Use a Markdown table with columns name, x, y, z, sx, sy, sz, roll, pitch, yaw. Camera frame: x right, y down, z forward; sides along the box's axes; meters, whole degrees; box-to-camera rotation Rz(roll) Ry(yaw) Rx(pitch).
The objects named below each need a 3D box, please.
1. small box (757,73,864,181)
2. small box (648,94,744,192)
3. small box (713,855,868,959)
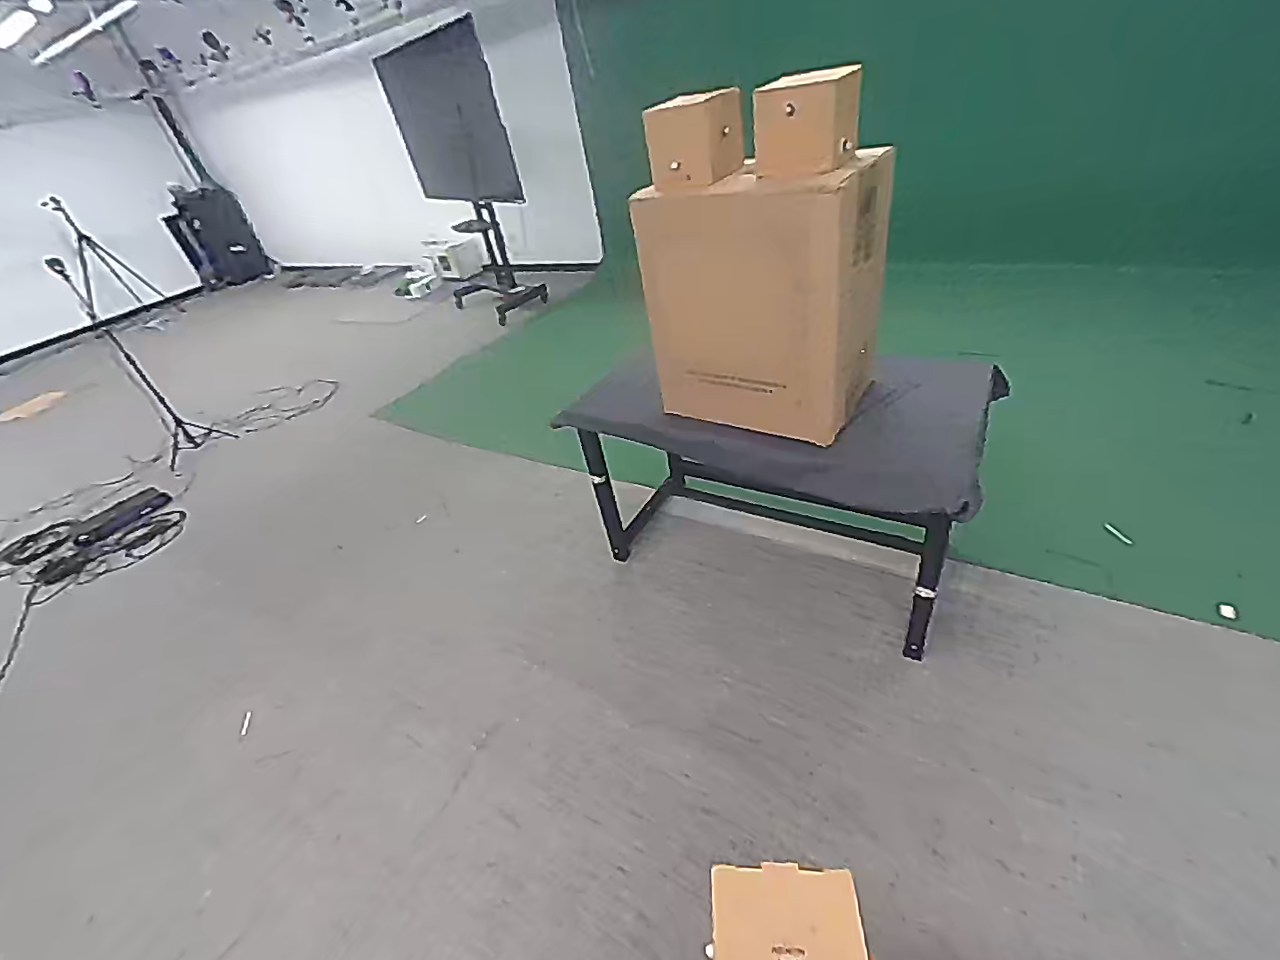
| name | x | y | z | sx | sy | sz | roll | pitch | yaw |
| --- | --- | --- | --- | --- | --- | --- | --- | --- | --- |
| small box | 0.373 | -0.773 | 1.194 | 0.179 | 0.176 | 0.168 | 18 | 48 | 31 |
| small box | 0.145 | -0.819 | 1.321 | 0.168 | 0.176 | 0.179 | 16 | 47 | 34 |
| small box | 0.173 | 0.572 | 0.635 | 0.168 | 0.176 | 0.179 | -4 | 41 | 9 |
